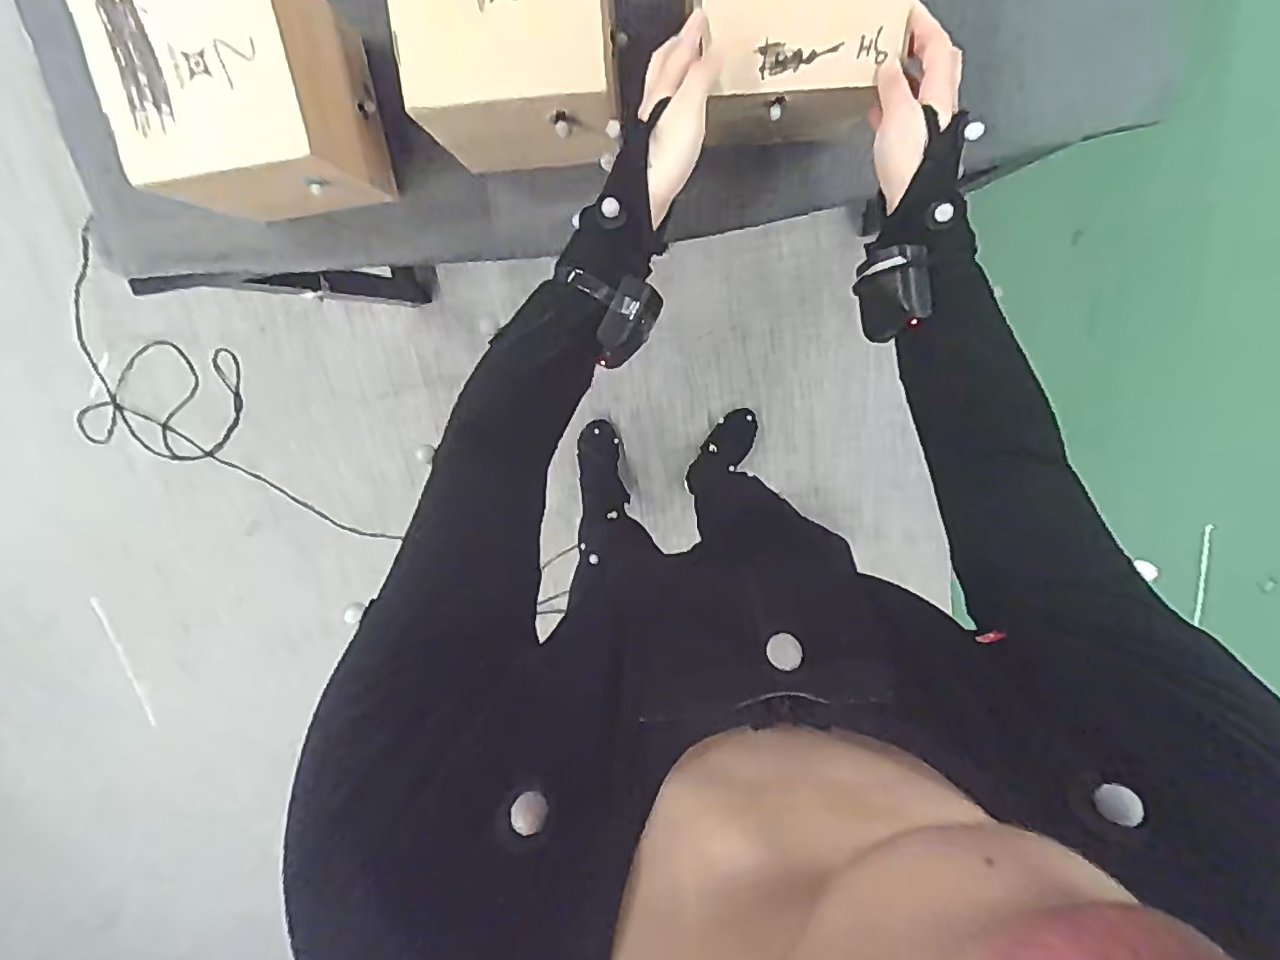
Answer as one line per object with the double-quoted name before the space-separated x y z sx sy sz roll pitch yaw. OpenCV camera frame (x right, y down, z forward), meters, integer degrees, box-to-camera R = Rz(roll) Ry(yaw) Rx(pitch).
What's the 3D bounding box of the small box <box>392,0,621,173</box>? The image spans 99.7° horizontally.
"small box" -0.111 -0.411 0.514 0.179 0.176 0.168 -2 103 5
